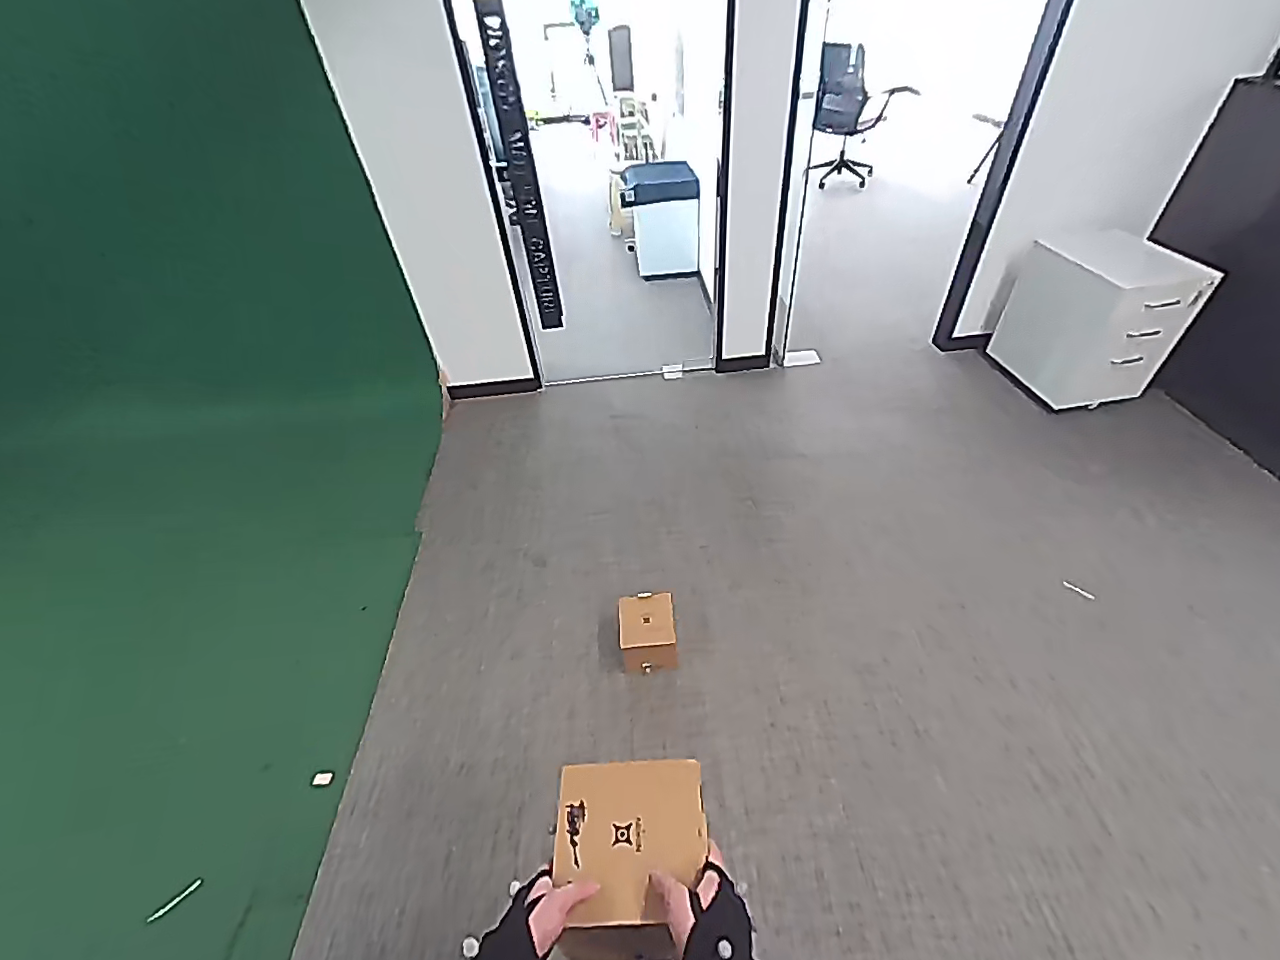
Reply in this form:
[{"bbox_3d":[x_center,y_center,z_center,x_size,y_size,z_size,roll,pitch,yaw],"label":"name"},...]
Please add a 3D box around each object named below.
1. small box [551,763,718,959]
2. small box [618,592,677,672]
[{"bbox_3d":[-0.002,0.473,0.669,0.179,0.176,0.168,-3,37,2],"label":"small box"},{"bbox_3d":[0.025,0.469,1.668,0.168,0.176,0.179,-5,44,4],"label":"small box"}]
